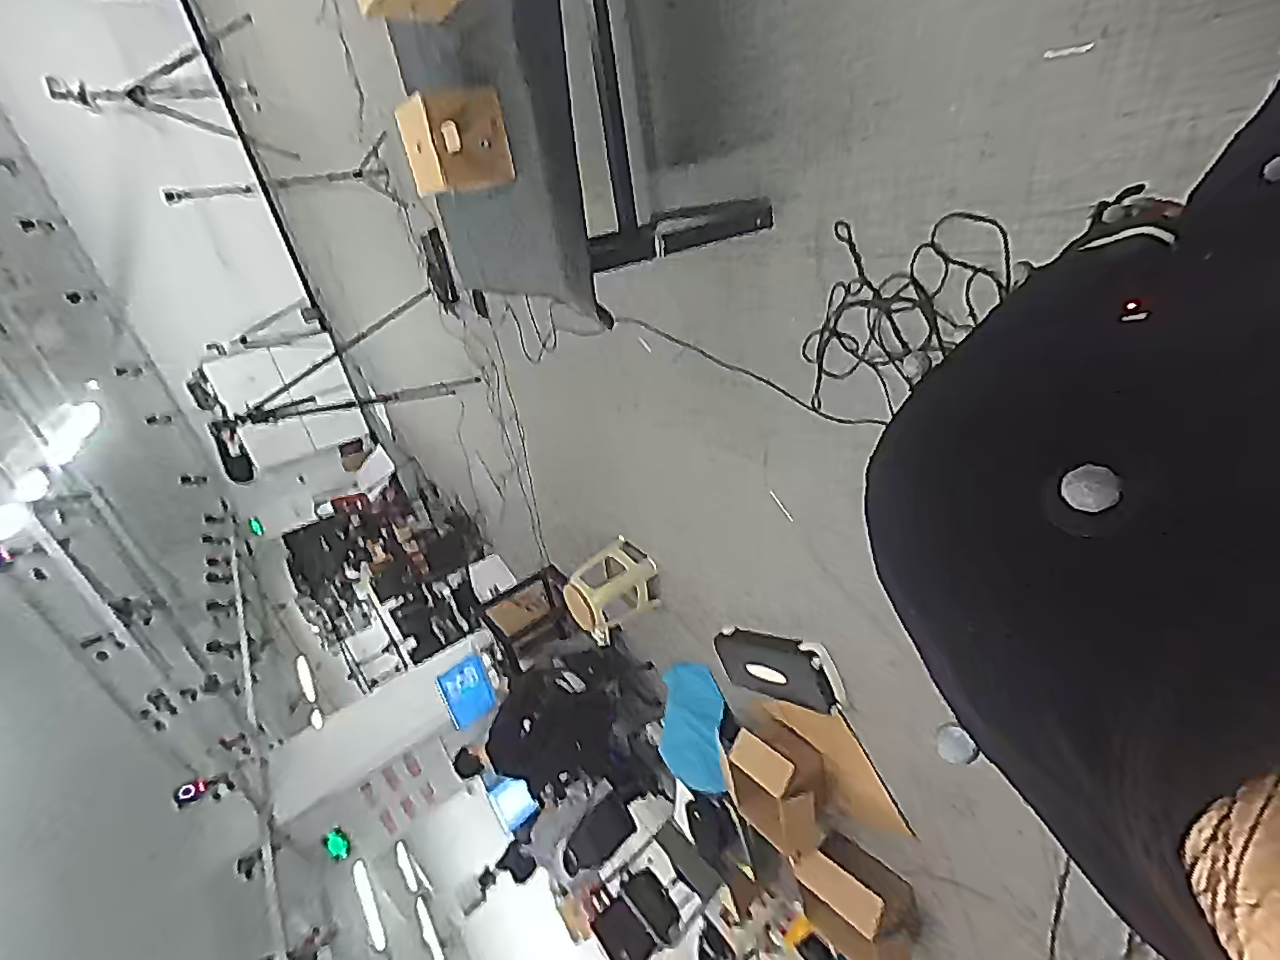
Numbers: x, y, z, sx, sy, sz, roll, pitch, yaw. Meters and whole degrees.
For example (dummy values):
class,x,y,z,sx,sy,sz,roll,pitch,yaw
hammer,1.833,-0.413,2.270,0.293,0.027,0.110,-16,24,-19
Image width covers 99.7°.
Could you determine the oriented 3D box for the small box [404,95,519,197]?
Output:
class,x,y,z,sx,sy,sz,roll,pitch,yaw
small box,-0.389,-0.730,1.188,0.179,0.176,0.168,25,133,48
